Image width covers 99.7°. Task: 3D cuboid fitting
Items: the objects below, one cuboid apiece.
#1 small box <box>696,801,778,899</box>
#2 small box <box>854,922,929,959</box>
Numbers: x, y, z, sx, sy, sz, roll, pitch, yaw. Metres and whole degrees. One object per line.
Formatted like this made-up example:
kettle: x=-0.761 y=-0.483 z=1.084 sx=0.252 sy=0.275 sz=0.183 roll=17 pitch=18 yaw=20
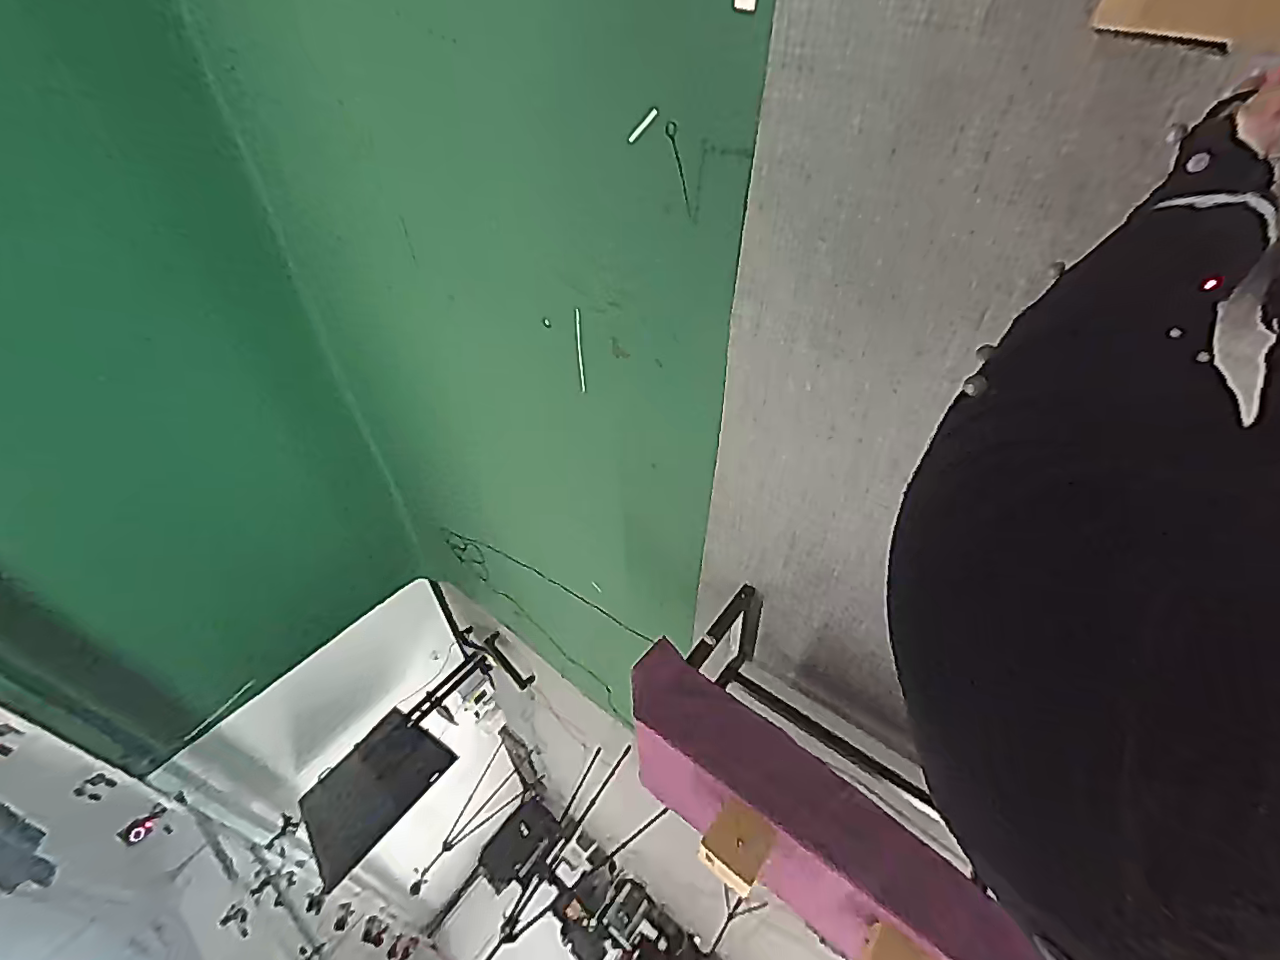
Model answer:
small box: x=0.293 y=1.118 z=1.651 sx=0.179 sy=0.176 sz=0.168 roll=28 pitch=140 yaw=27
small box: x=0.672 y=1.327 z=1.428 sx=0.179 sy=0.176 sz=0.168 roll=29 pitch=140 yaw=27
